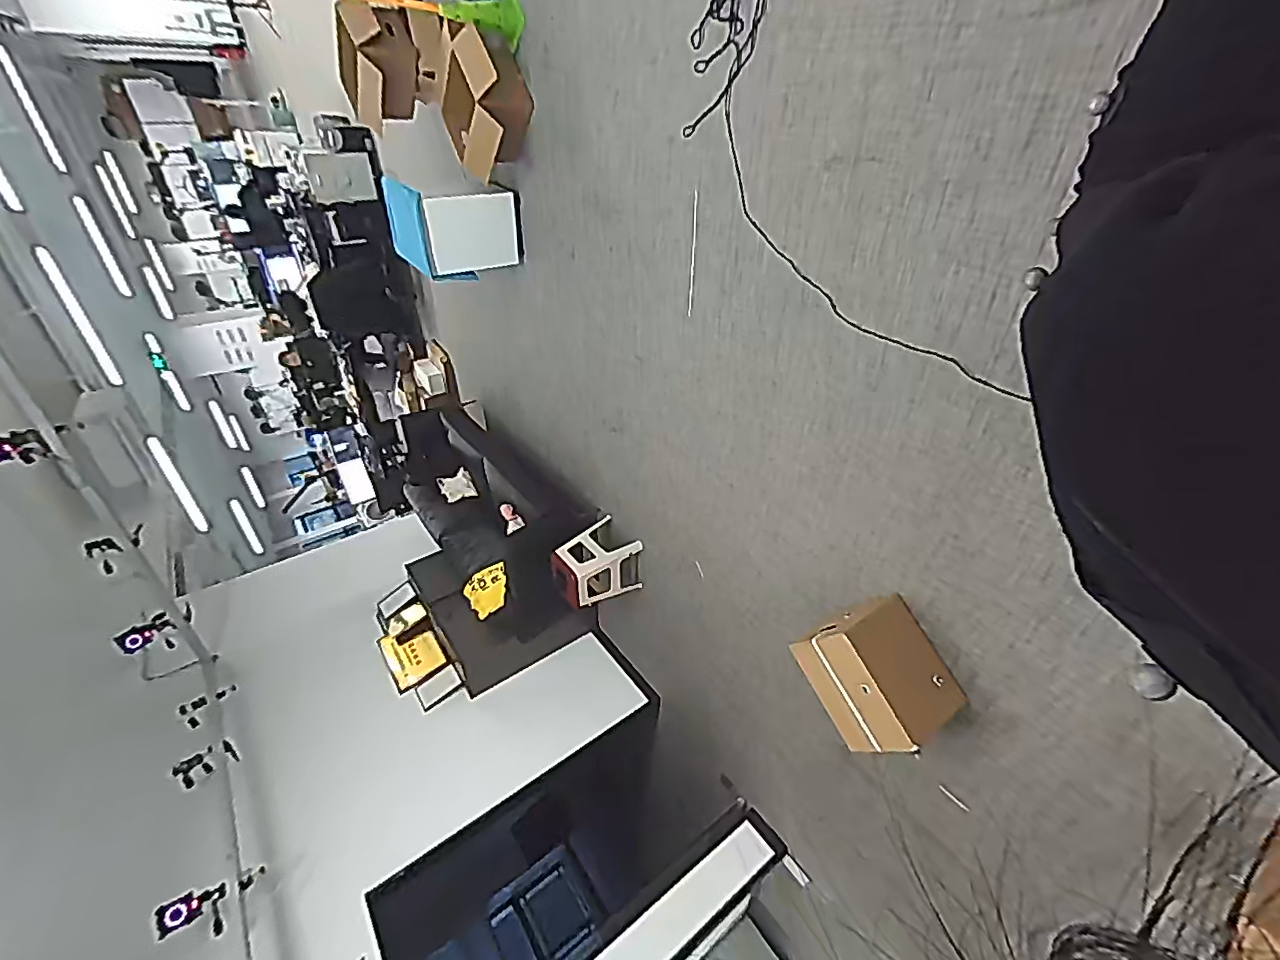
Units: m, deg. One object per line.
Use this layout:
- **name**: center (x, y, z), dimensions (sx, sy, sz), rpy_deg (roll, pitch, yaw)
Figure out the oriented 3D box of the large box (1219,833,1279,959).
- **large box**: center (1.468, 1.031, 1.067), dimensions (0.408, 0.320, 0.320), rpy_deg (23, 128, 50)
